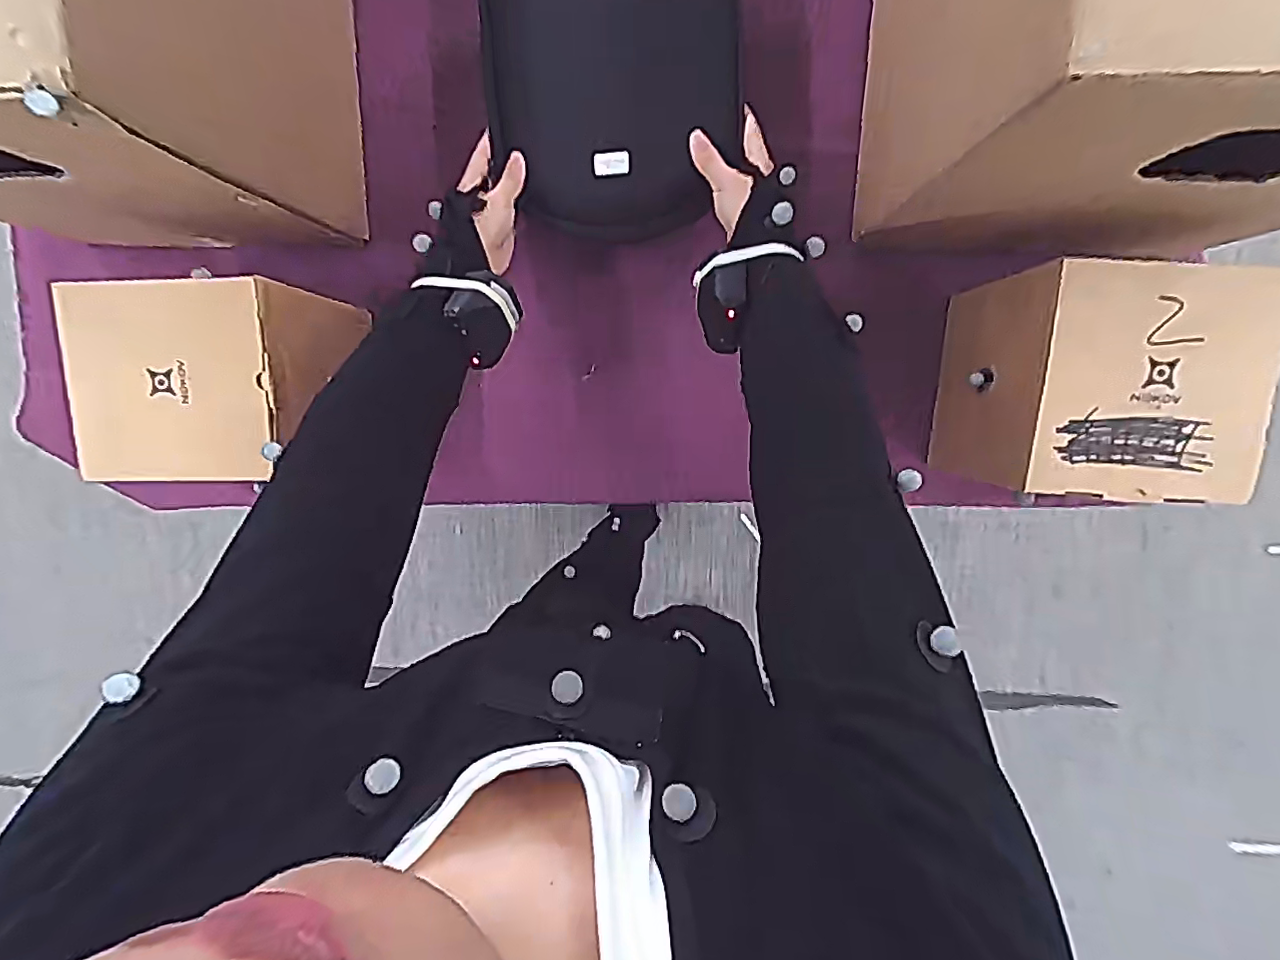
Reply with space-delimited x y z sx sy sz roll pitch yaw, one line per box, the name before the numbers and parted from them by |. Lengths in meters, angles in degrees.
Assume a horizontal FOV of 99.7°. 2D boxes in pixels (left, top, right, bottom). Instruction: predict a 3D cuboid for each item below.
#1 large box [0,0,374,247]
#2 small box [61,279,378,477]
large box | -0.444 -0.424 0.414 0.320 0.320 0.408 0 101 2
small box | -0.391 -0.093 0.534 0.179 0.176 0.168 -1 98 3
